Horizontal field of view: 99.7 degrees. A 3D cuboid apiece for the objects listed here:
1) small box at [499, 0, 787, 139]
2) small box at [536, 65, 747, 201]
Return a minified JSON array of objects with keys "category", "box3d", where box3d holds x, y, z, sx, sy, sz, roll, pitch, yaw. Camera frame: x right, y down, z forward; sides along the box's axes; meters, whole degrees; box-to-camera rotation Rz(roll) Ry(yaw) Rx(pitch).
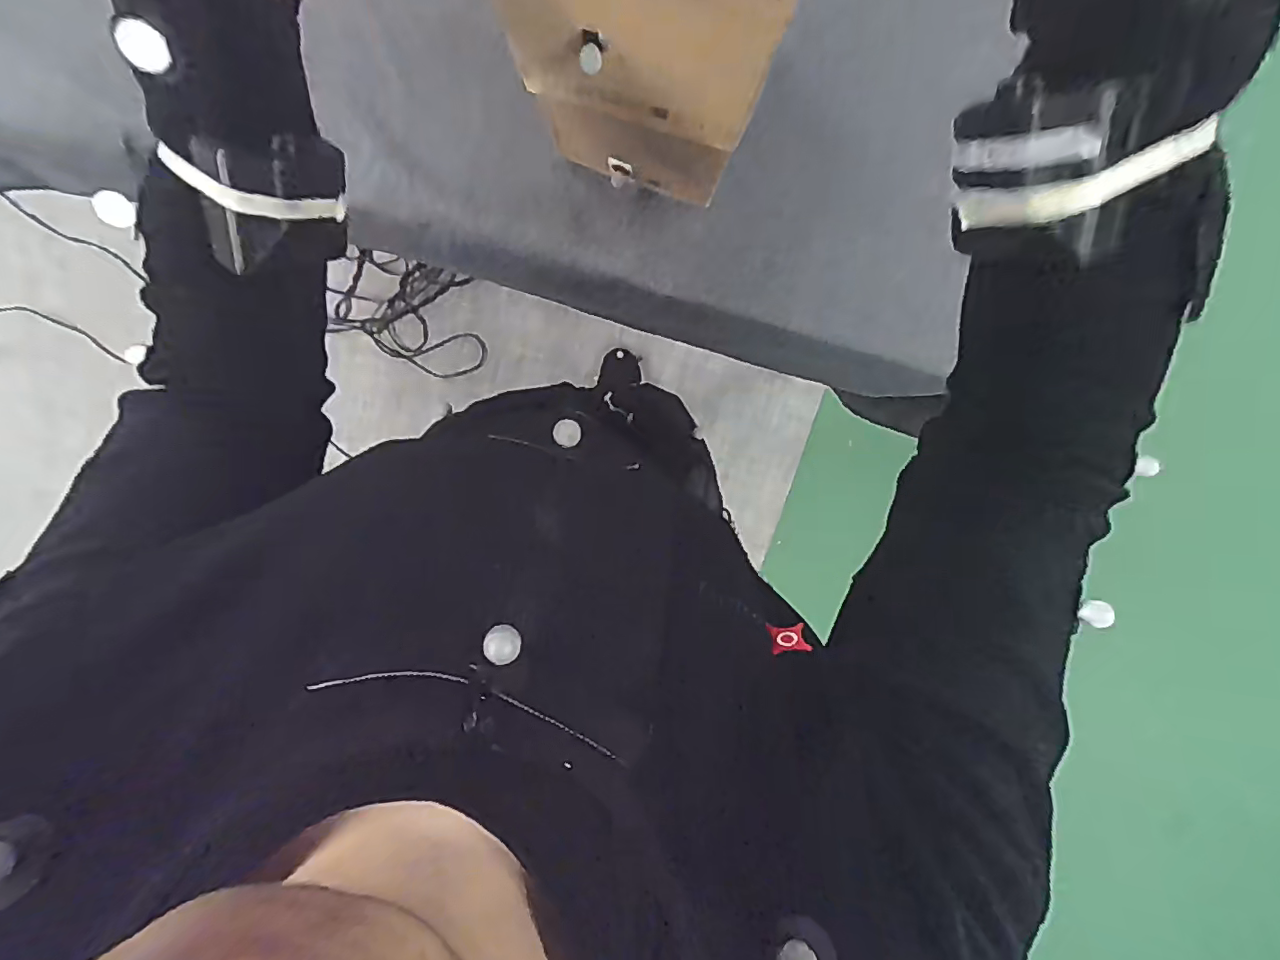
[{"category":"small box","box3d":[0.016,-0.336,0.311,0.168,0.176,0.179,15,101,-3]},{"category":"small box","box3d":[0.022,-0.376,0.469,0.168,0.176,0.179,16,102,-3]}]
